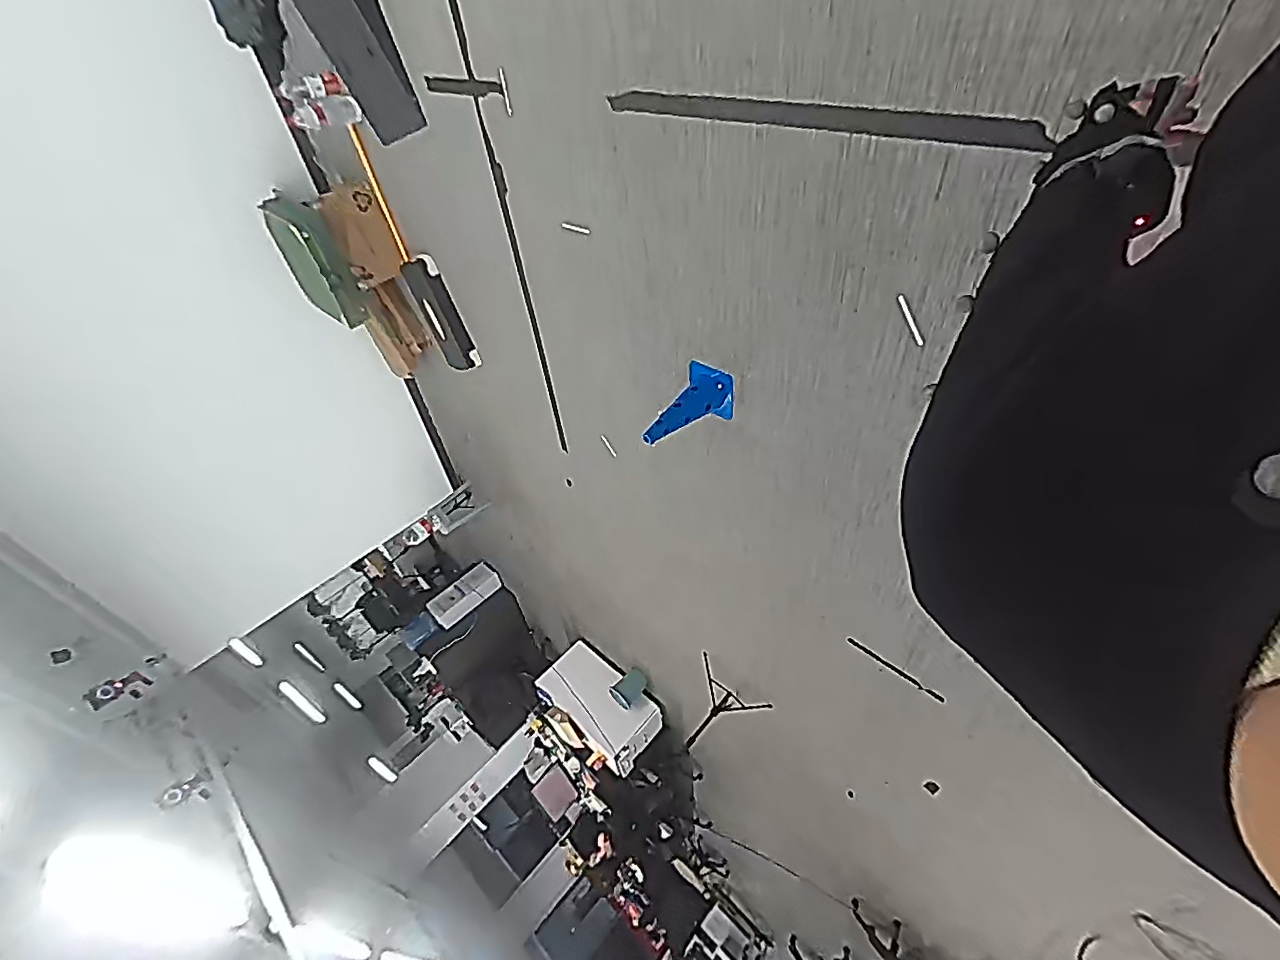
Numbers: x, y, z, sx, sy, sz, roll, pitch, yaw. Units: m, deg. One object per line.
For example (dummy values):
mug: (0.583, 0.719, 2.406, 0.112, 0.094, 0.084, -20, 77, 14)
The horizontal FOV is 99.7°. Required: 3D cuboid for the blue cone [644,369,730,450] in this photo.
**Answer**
blue cone: (0.148, -0.227, 1.936, 0.193, 0.380, 0.192, 31, 146, 32)
